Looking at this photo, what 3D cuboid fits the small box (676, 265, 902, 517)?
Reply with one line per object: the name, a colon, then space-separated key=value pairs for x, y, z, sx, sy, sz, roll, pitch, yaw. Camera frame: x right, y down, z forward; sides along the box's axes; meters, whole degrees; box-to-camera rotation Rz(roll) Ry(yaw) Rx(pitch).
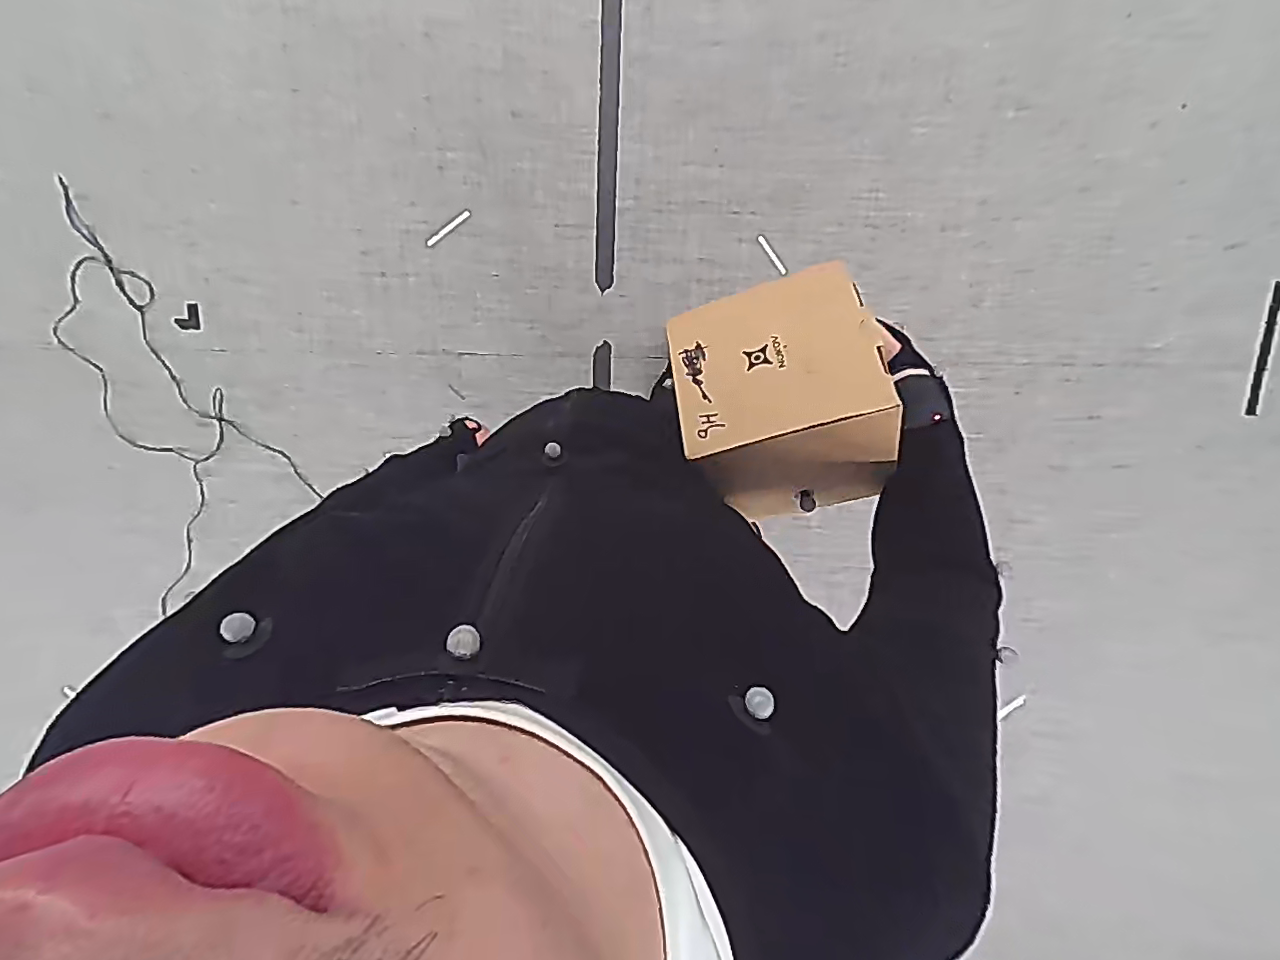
small box: x=0.150 y=-0.078 z=0.557 sx=0.179 sy=0.176 sz=0.168 roll=-14 pitch=60 yaw=16
